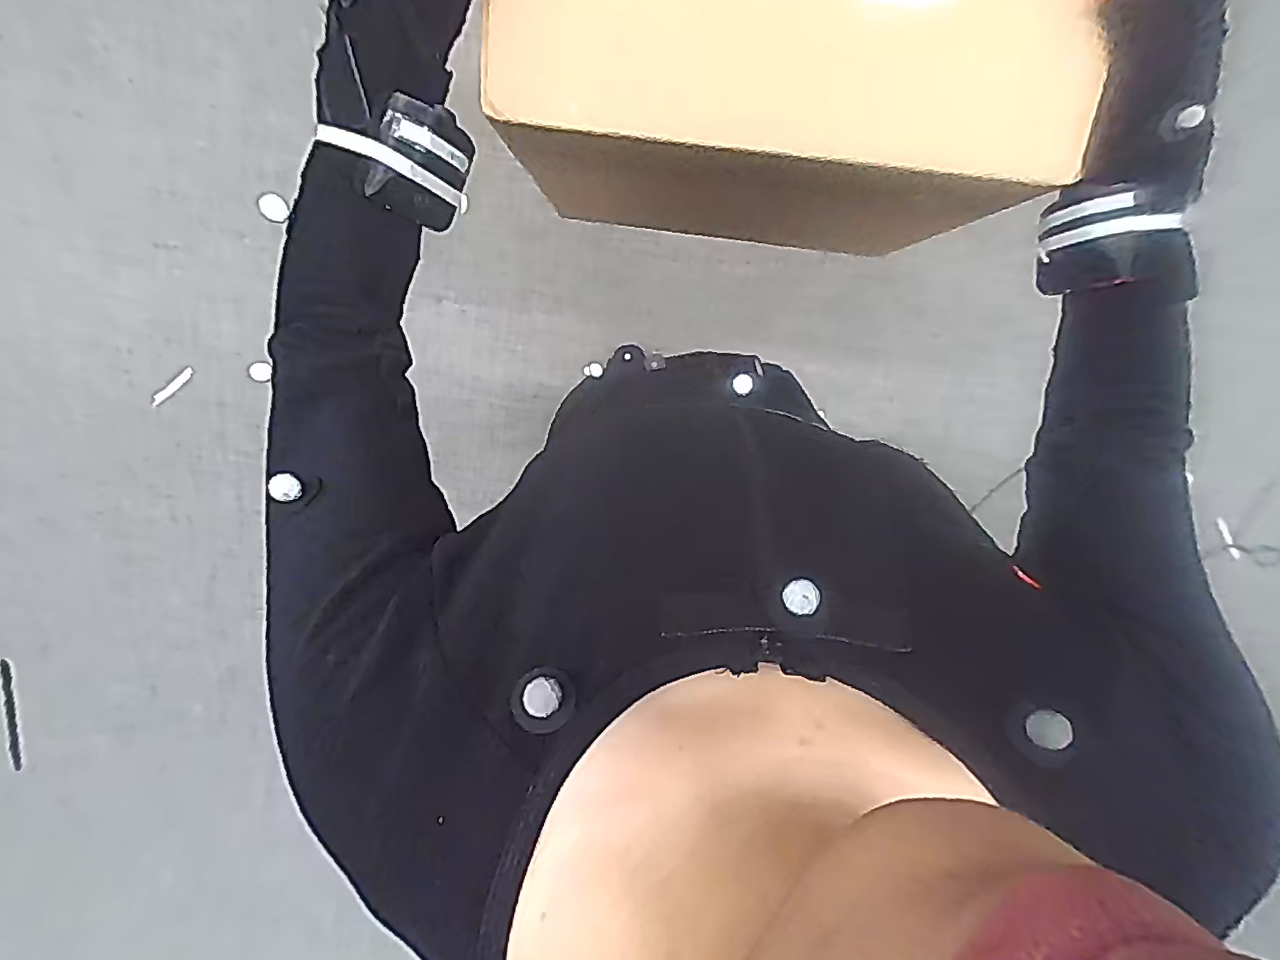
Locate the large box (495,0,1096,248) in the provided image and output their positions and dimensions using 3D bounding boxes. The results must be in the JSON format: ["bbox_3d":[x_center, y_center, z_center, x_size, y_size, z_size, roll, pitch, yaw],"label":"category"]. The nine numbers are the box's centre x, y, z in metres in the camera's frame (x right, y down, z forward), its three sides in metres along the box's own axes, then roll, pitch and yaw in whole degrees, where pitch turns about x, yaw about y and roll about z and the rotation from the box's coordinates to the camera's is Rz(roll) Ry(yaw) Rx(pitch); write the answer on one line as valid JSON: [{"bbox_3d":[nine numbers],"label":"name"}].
[{"bbox_3d":[0.108,-0.416,0.488,0.408,0.320,0.320,6,104,-1],"label":"large box"}]
